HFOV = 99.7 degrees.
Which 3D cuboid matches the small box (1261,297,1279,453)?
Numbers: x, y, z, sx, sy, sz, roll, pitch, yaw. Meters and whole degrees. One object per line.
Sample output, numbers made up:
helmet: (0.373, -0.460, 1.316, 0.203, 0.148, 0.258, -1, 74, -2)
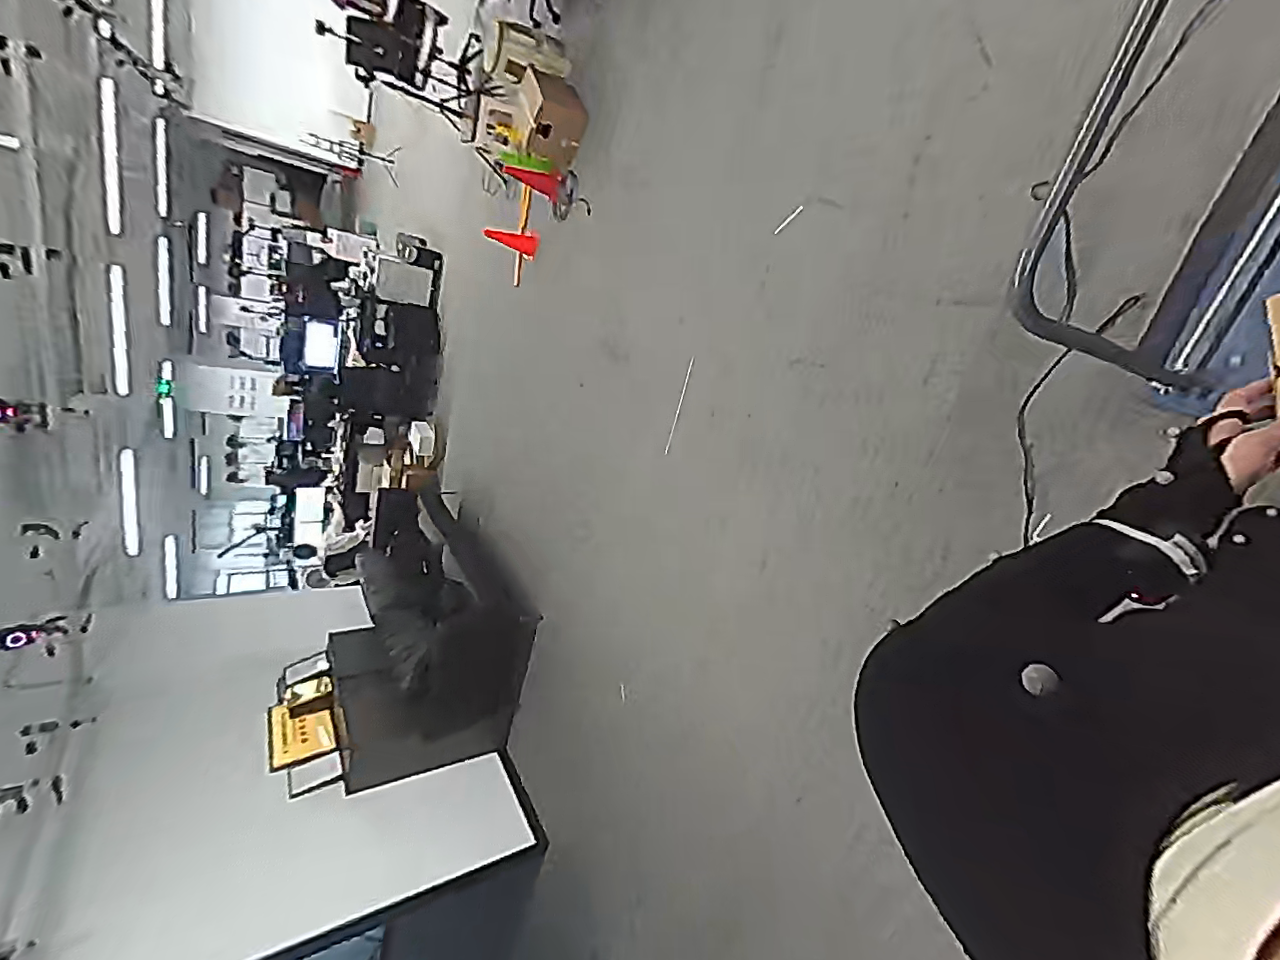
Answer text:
small box: (0.728, -0.087, 0.503, 0.179, 0.176, 0.168, -5, 71, 55)
